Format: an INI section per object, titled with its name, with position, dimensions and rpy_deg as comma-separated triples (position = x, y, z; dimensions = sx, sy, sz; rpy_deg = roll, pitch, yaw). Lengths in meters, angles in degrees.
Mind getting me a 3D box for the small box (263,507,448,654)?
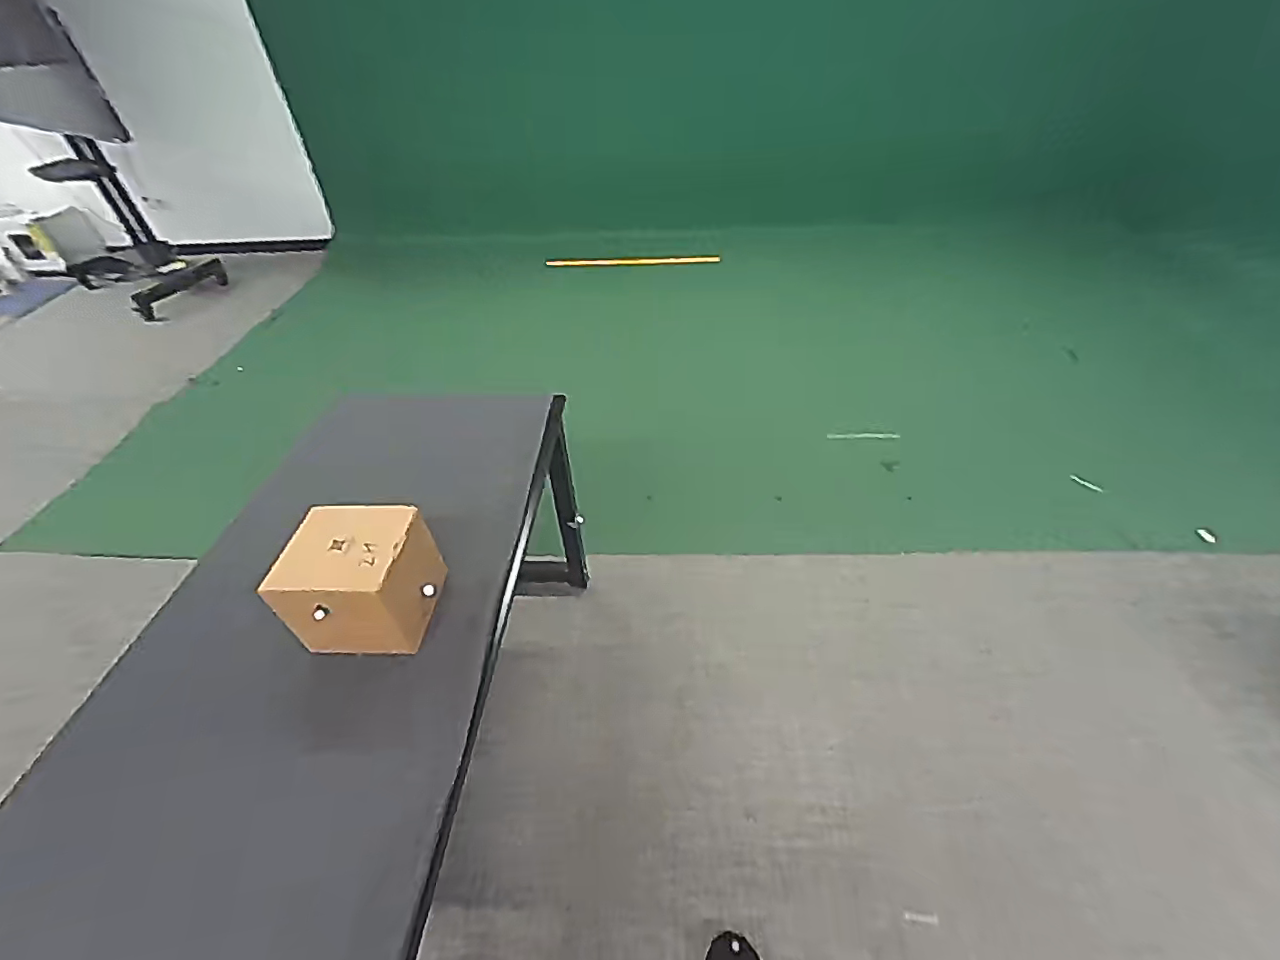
[small box]
position = -0.431, 0.160, 0.854
dimensions = 0.179, 0.176, 0.168
rpy_deg = 0, 43, 4
